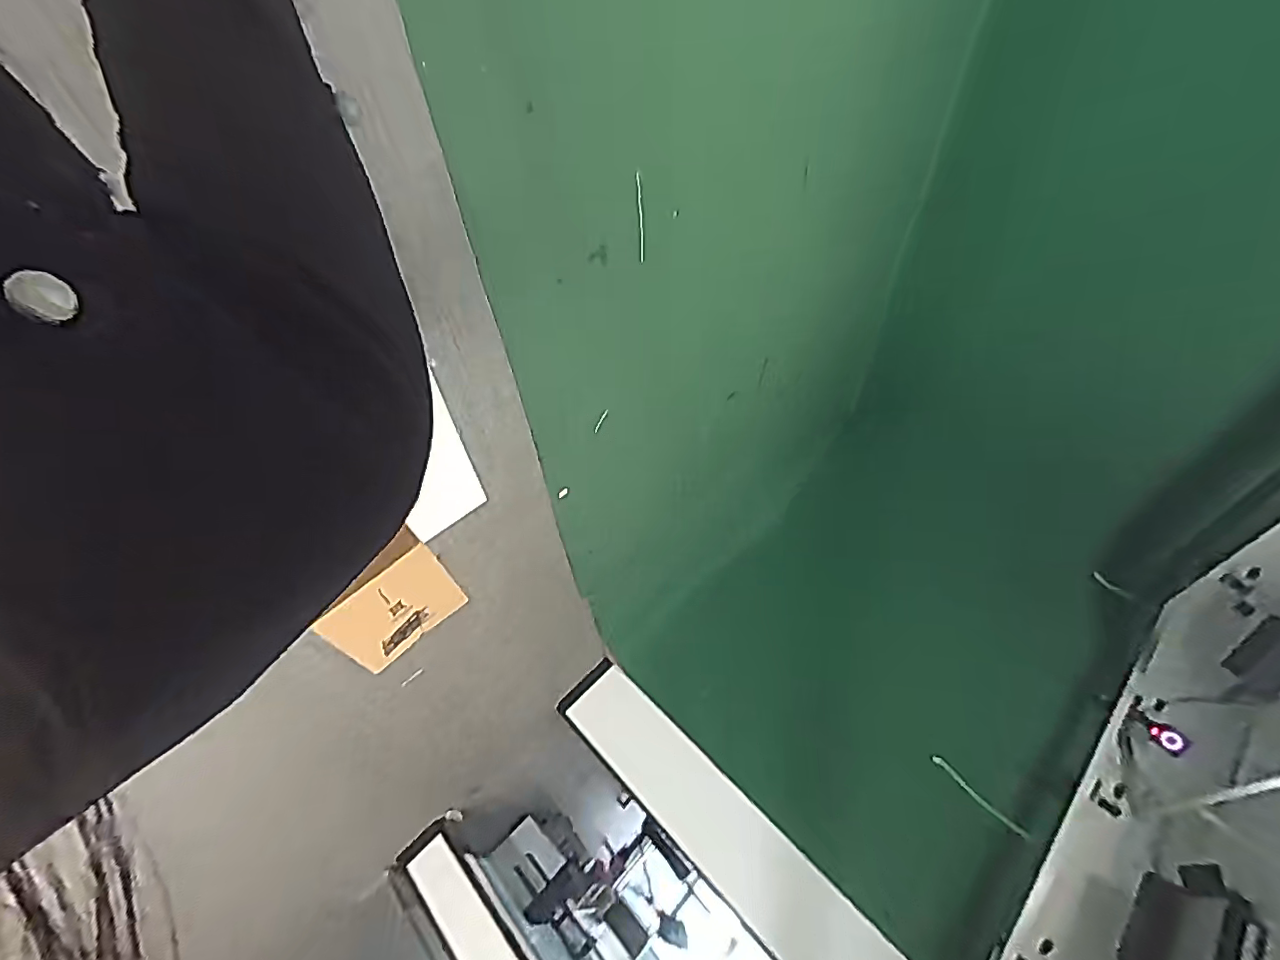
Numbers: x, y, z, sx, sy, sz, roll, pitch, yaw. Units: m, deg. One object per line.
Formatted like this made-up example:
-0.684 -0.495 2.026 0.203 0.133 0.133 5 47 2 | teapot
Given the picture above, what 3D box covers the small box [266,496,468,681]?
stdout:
-0.391 0.155 0.790 0.168 0.176 0.179 -42 149 -19 | small box
